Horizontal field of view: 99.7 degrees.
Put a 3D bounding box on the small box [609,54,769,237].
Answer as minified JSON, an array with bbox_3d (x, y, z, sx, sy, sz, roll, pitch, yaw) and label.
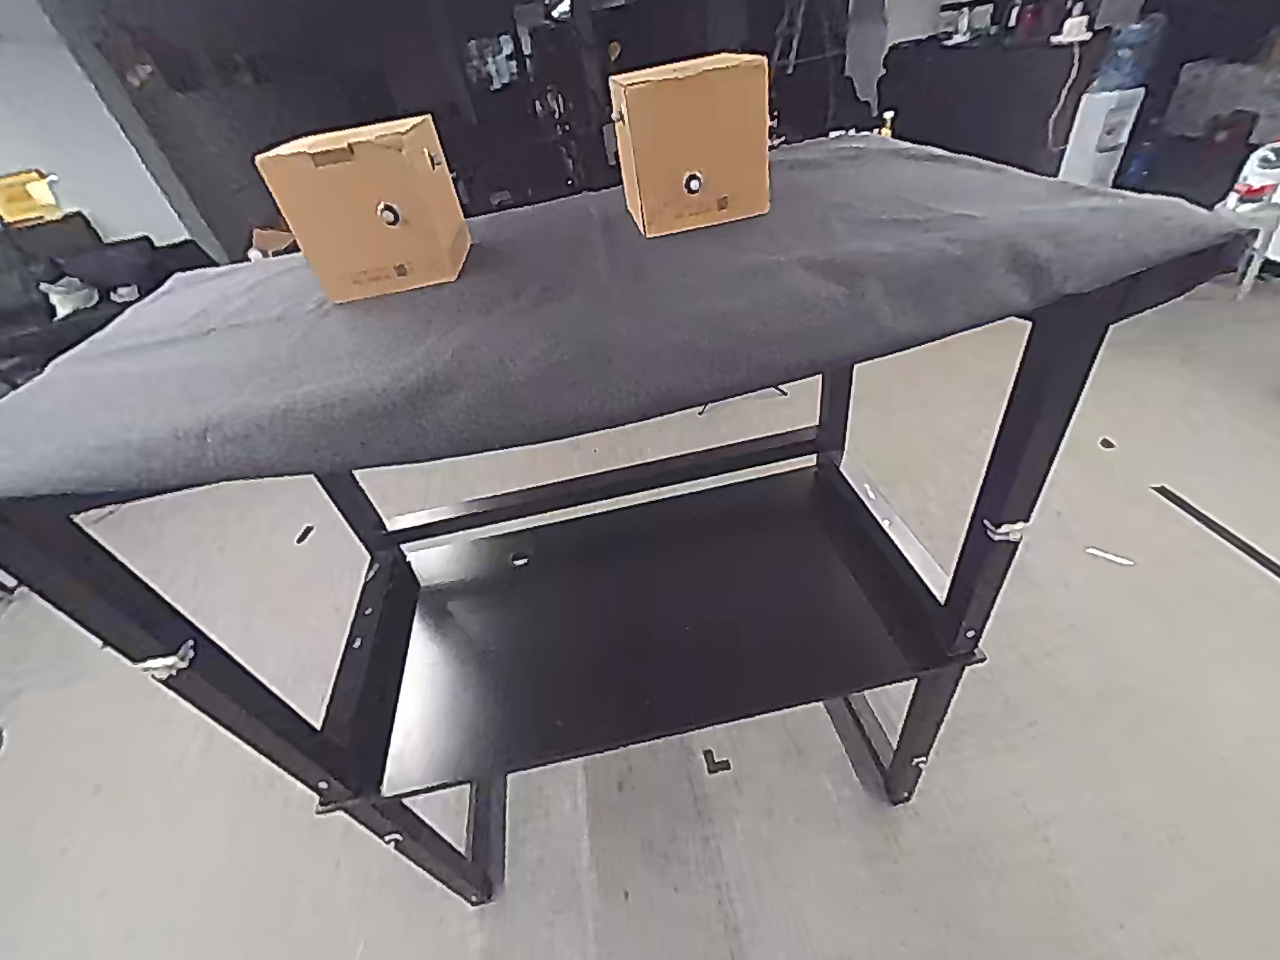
[{"bbox_3d":[0.061,-0.437,0.708,0.168,0.176,0.179,-13,40,-1],"label":"small box"}]

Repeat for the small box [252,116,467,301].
[{"bbox_3d":[-0.334,-0.342,0.691,0.168,0.176,0.179,-11,40,0],"label":"small box"}]
